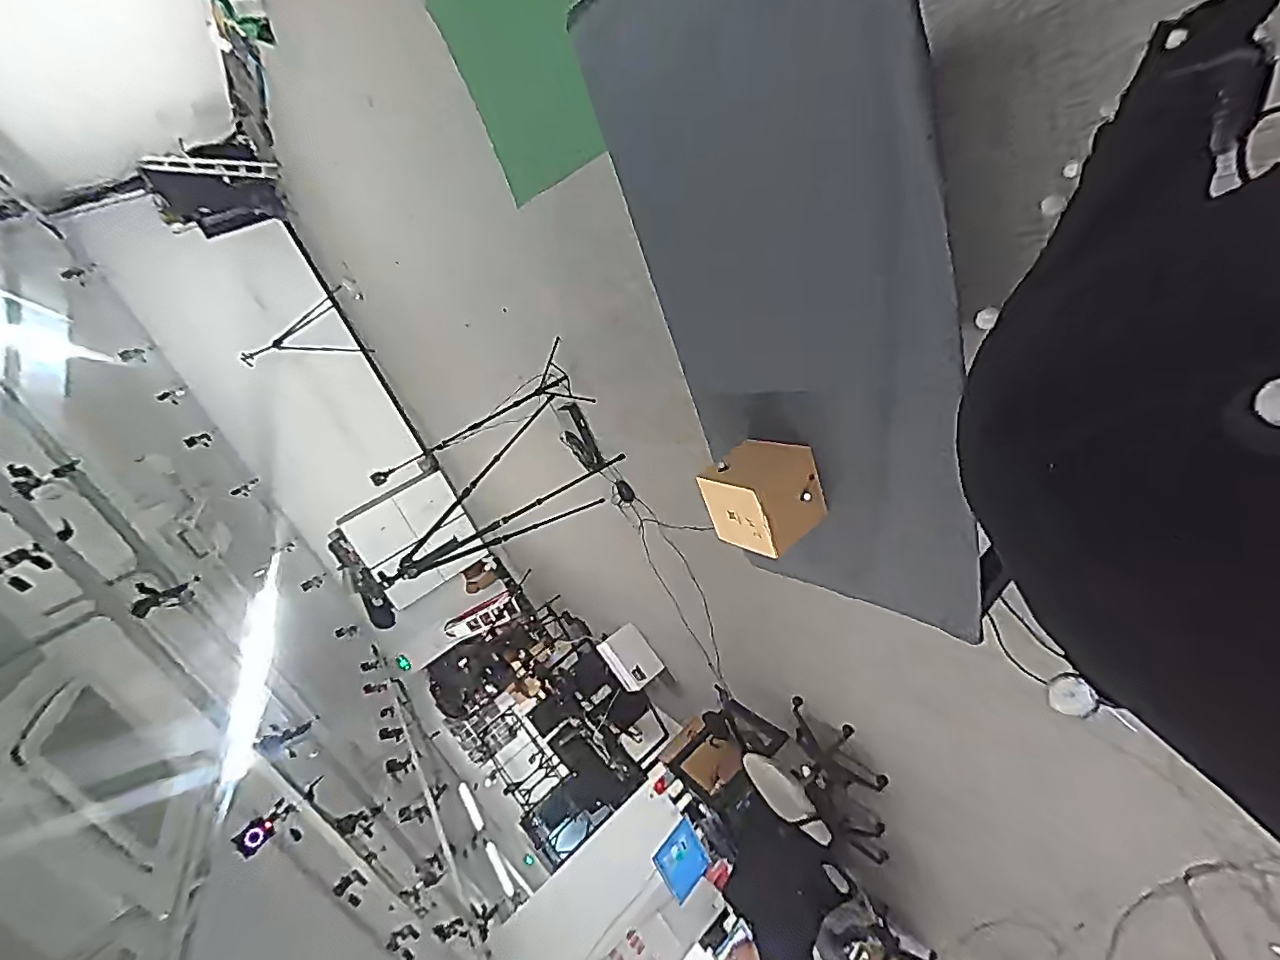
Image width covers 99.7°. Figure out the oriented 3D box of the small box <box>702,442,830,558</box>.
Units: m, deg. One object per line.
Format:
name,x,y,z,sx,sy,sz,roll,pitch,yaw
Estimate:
small box,0.265,0.033,1.133,0.179,0.176,0.168,14,133,55
